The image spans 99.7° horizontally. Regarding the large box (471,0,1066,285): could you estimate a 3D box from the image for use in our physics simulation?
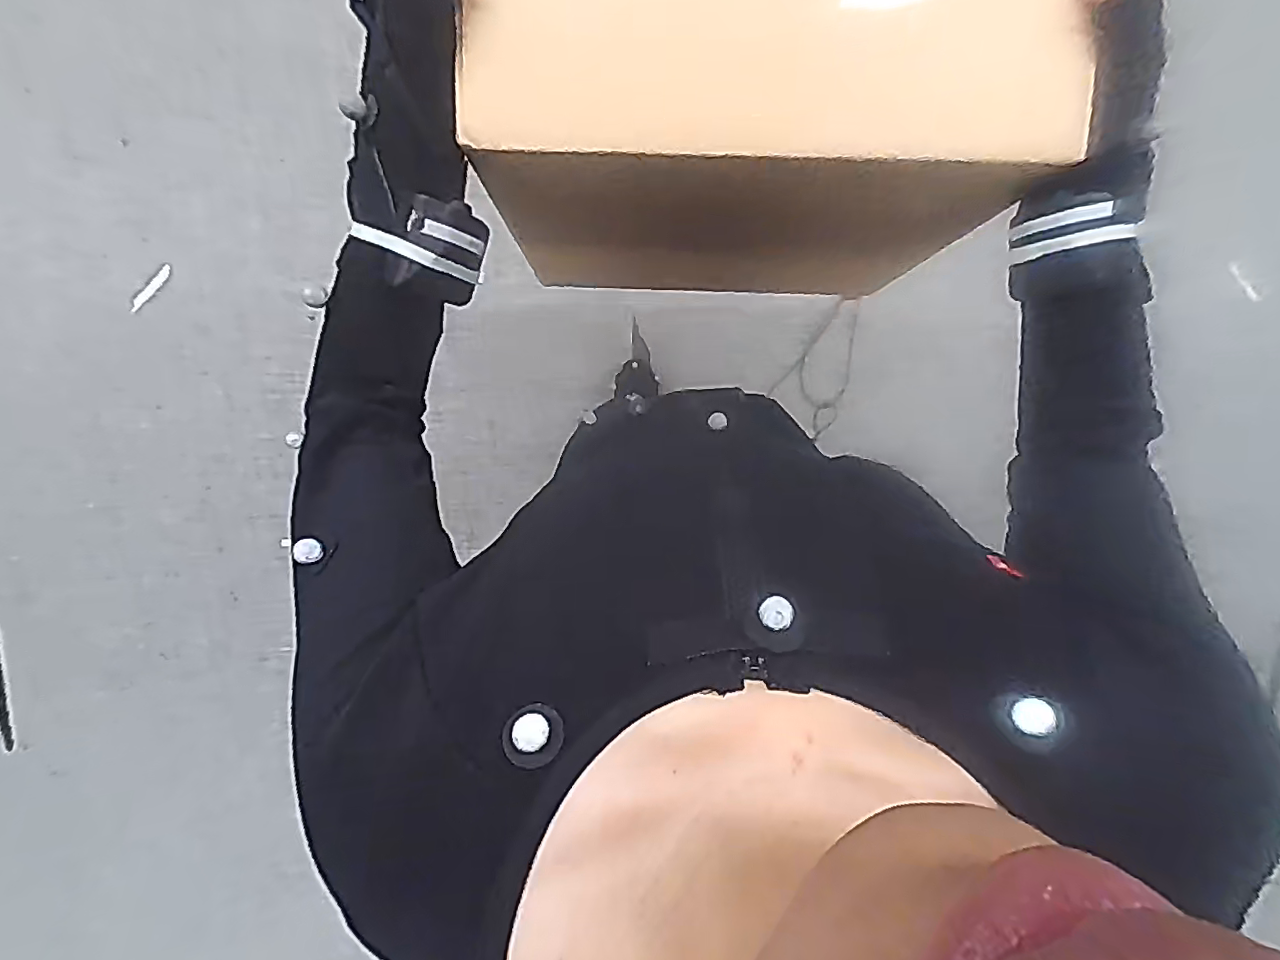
[{"bbox_3d":[0.083,-0.383,0.504,0.408,0.320,0.320,1,94,-1],"label":"large box"}]
